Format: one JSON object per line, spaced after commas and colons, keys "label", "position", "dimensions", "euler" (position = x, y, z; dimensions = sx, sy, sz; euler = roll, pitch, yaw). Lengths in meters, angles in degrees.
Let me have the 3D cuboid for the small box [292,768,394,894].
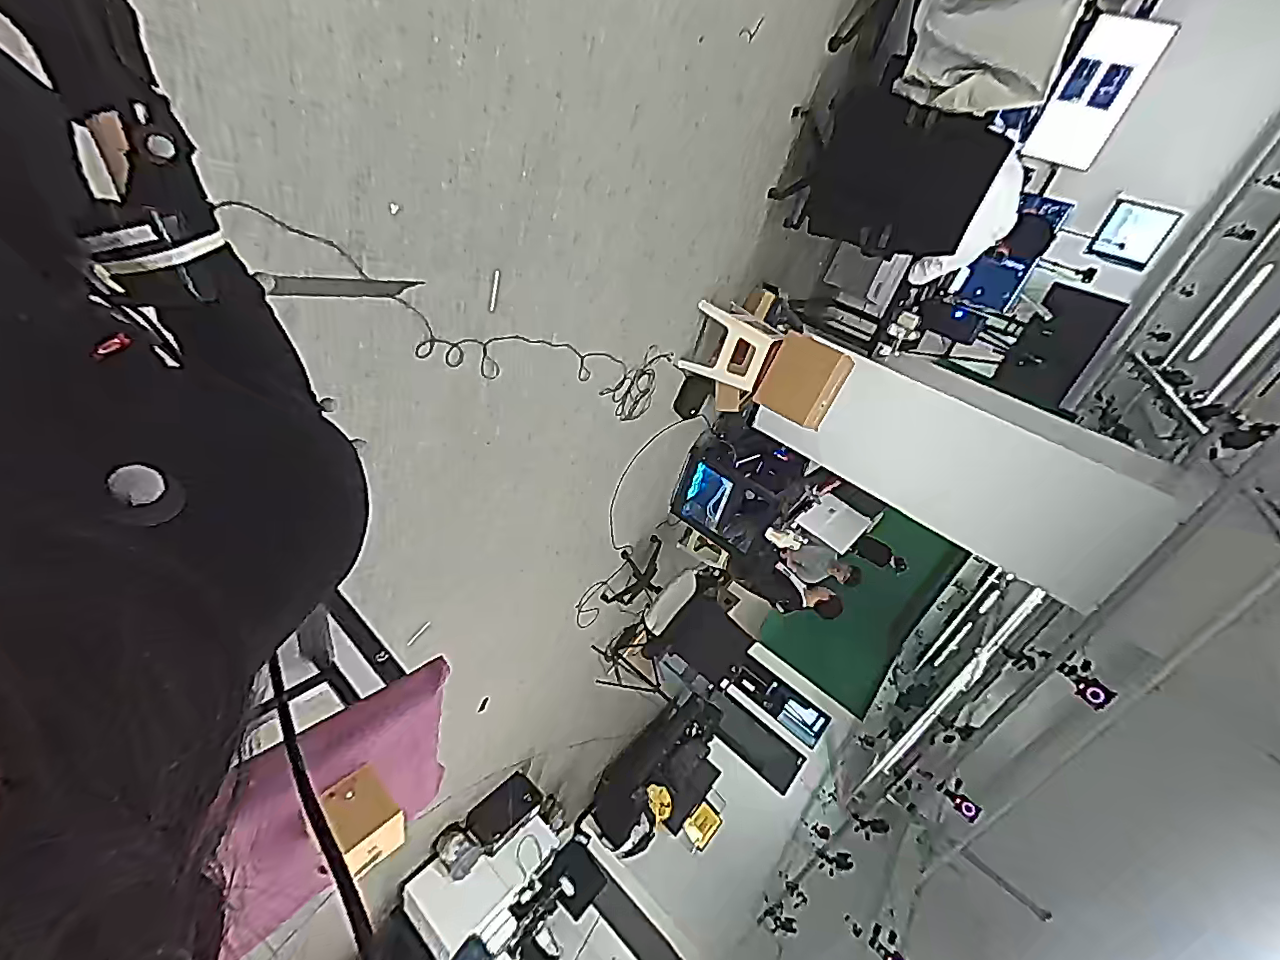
{"label": "small box", "position": [-0.736, 0.865, 1.347], "dimensions": [0.168, 0.176, 0.179], "euler": [-26, 141, -46]}
